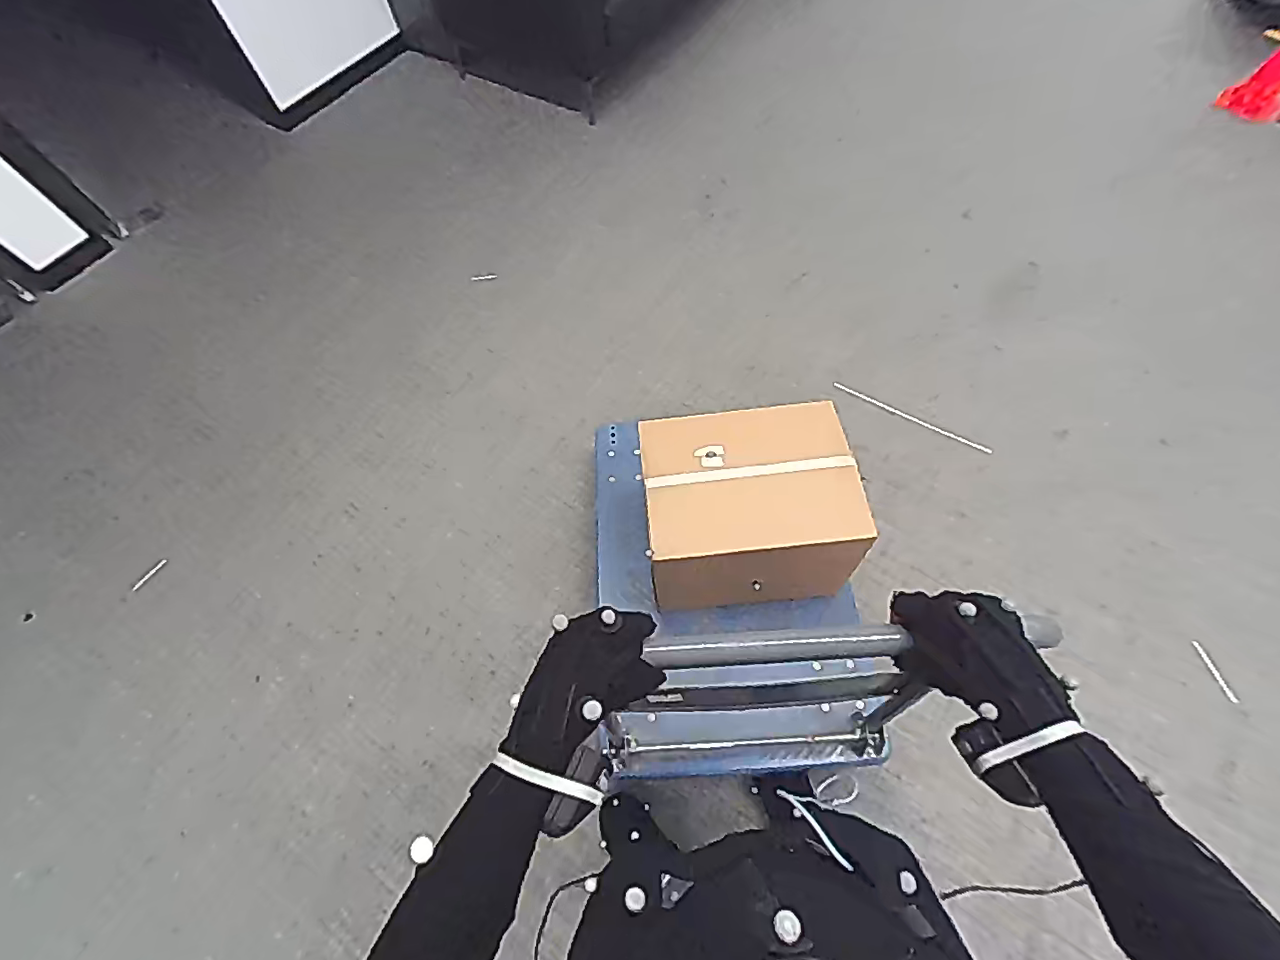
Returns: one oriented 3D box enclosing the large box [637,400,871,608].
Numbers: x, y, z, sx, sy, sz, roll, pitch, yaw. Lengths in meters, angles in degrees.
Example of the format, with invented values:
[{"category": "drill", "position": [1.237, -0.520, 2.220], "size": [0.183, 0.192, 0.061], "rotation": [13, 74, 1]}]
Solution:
[{"category": "large box", "position": [0.223, 0.066, 1.180], "size": [0.408, 0.320, 0.320], "rotation": [-8, 59, 2]}]
